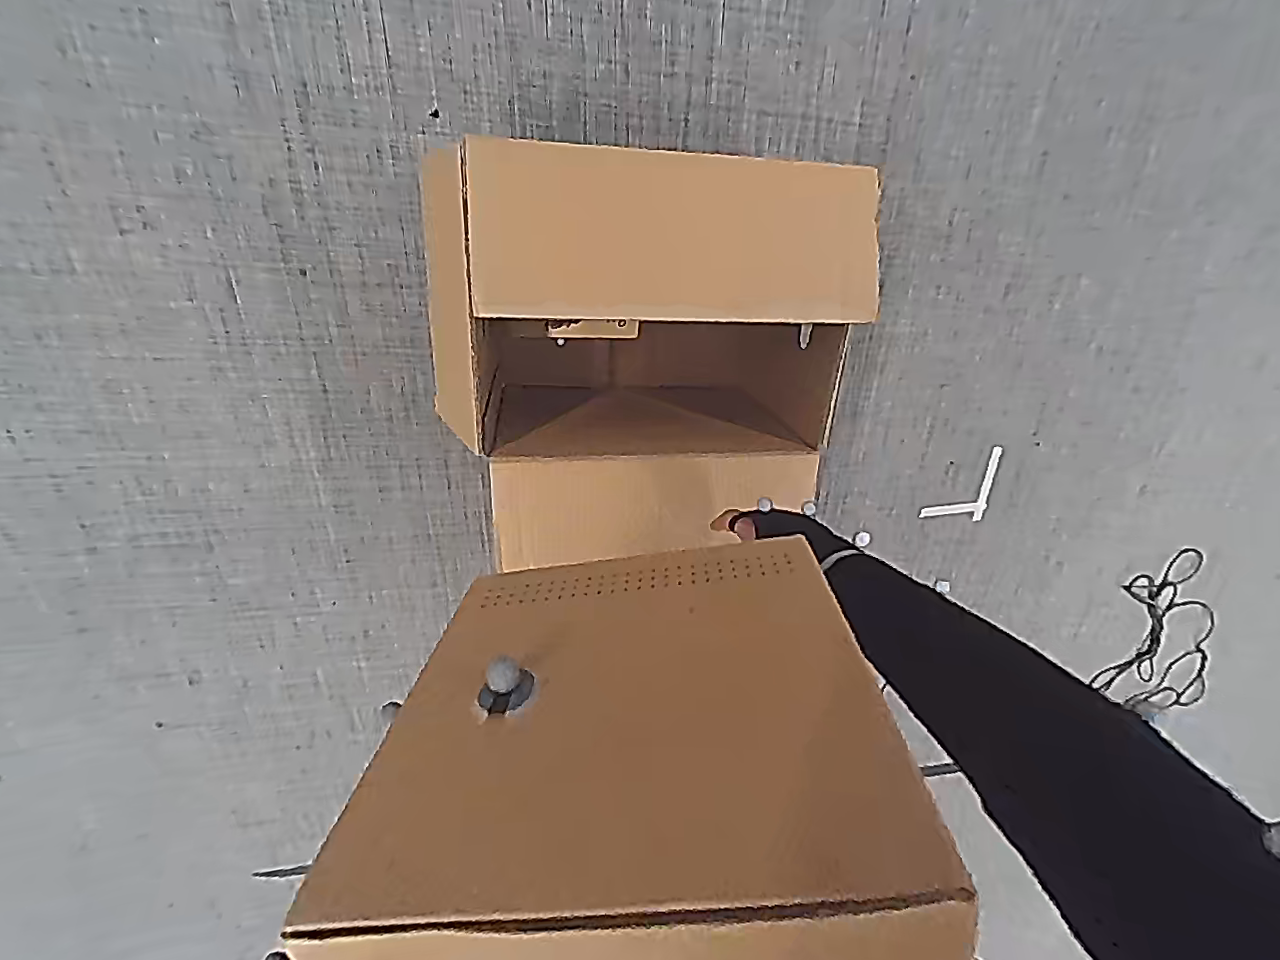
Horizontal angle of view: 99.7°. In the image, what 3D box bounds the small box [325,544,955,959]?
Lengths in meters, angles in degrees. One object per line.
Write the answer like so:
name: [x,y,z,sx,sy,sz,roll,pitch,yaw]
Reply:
small box: [0.011,0.147,0.248,0.179,0.176,0.168,-9,114,6]
